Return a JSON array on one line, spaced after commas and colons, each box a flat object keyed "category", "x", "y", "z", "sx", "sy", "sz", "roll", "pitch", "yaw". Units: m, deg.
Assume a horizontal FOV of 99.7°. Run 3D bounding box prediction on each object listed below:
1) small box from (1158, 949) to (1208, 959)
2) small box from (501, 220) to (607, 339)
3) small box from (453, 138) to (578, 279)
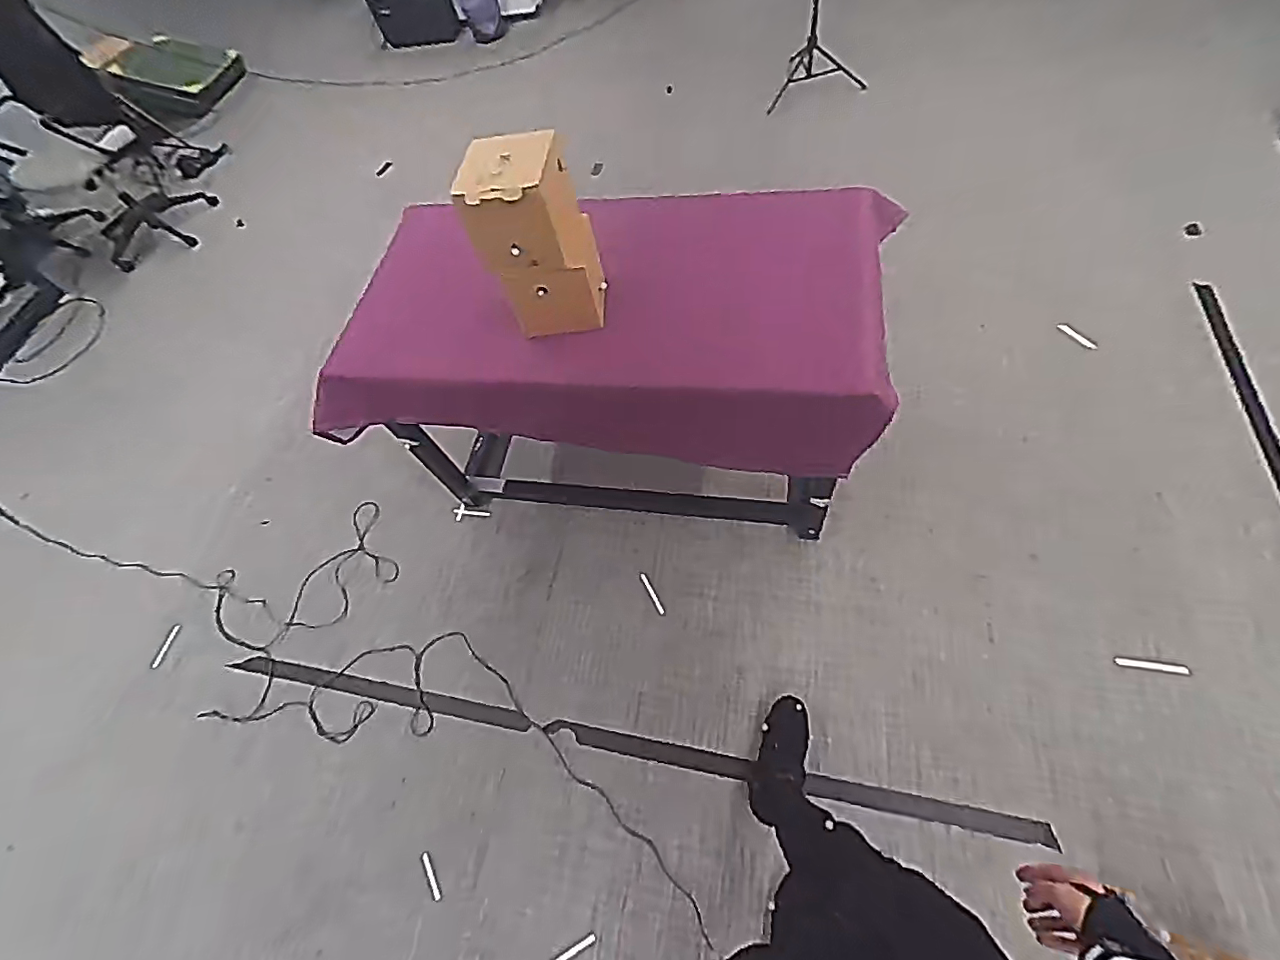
[{"category": "small box", "x": 1.092, "y": 0.989, "z": 0.977, "sx": 0.179, "sy": 0.176, "sz": 0.168, "roll": 8, "pitch": 63, "yaw": 14}, {"category": "small box", "x": -0.176, "y": -0.420, "z": 1.157, "sx": 0.179, "sy": 0.176, "sz": 0.168, "roll": -5, "pitch": 60, "yaw": 7}, {"category": "small box", "x": -0.222, "y": -0.508, "z": 1.023, "sx": 0.168, "sy": 0.176, "sz": 0.179, "roll": 0, "pitch": 61, "yaw": 11}]
